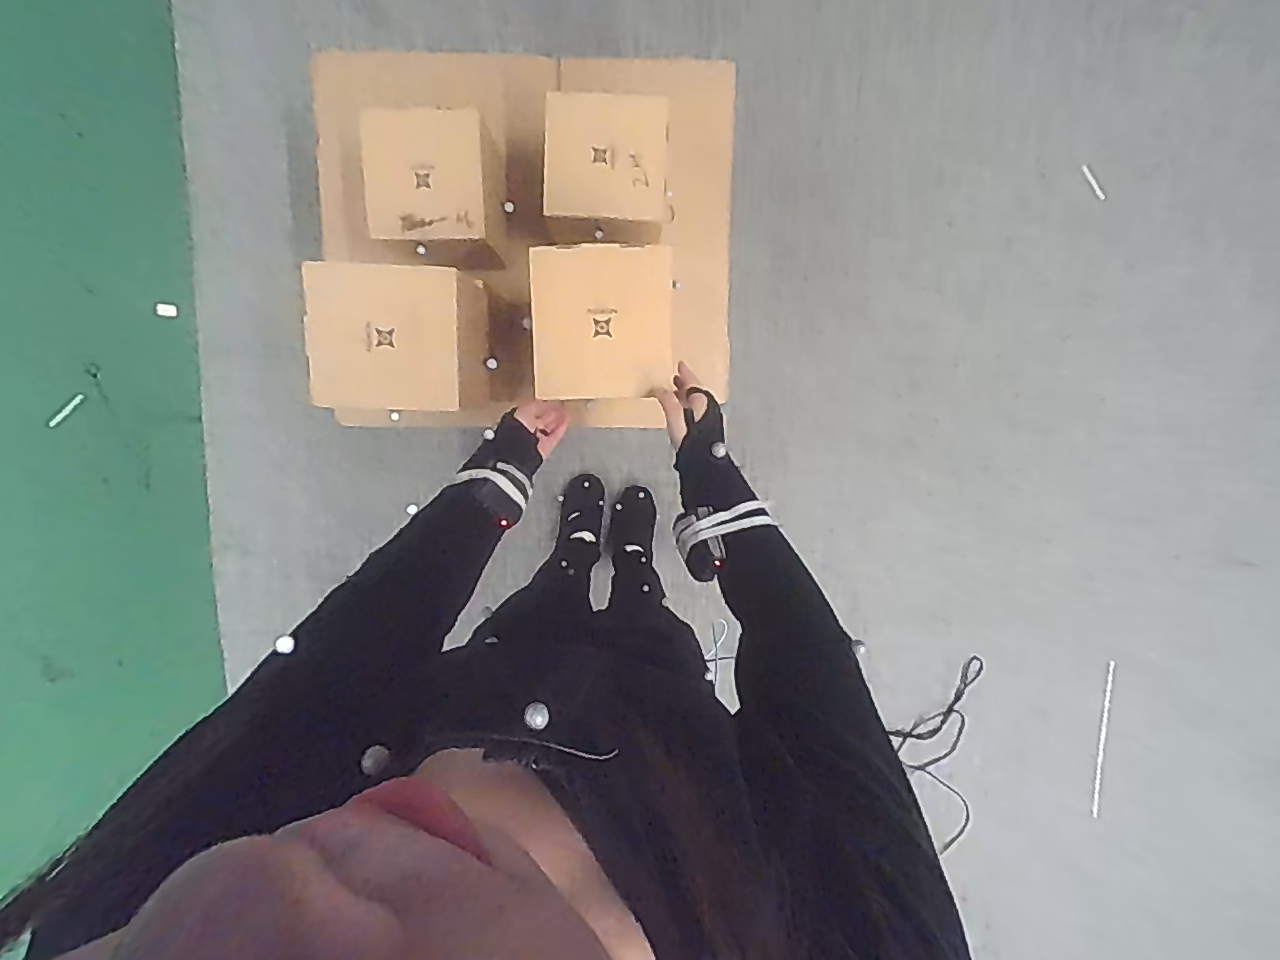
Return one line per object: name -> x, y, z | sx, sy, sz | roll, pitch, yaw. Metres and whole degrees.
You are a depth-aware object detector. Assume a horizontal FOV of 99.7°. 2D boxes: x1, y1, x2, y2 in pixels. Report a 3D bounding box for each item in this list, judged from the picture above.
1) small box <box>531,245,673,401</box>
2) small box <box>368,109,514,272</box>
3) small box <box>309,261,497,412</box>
small box -> -0.042, -0.193, 0.707 | 0.168, 0.176, 0.179 | -1, 97, 0
small box -> -0.296, -0.435, 0.835 | 0.168, 0.176, 0.179 | -1, 96, 1
small box -> -0.296, -0.176, 0.706 | 0.179, 0.176, 0.168 | 2, 99, -2
